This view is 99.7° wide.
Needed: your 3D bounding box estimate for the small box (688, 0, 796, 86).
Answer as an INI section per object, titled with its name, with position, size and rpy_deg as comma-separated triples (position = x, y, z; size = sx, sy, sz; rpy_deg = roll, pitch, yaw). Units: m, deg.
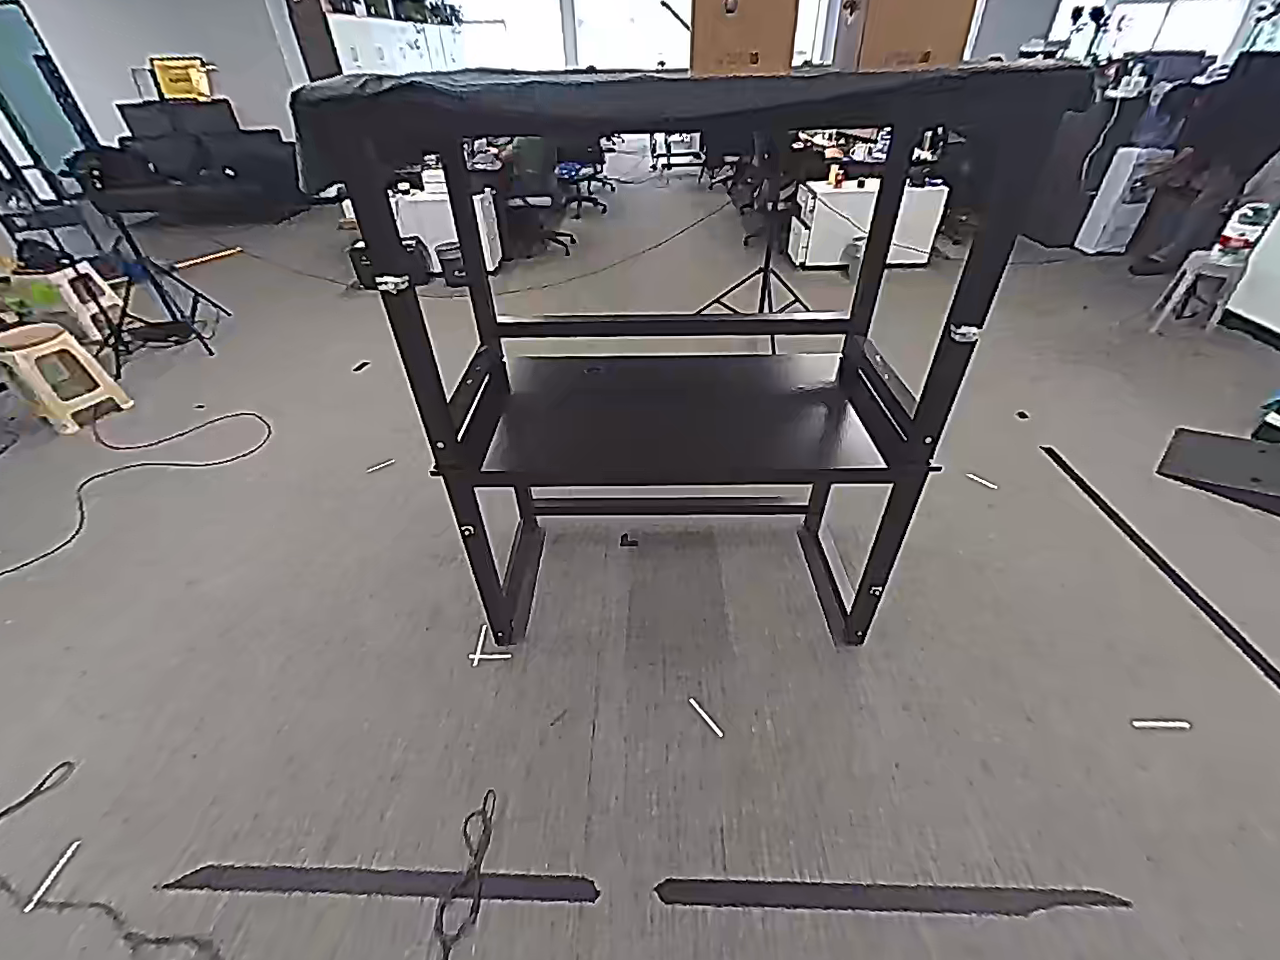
[small box]
position = 0.166, -0.770, 0.905
size = 0.168, 0.176, 0.179
rpy_deg = 1, 37, 4
